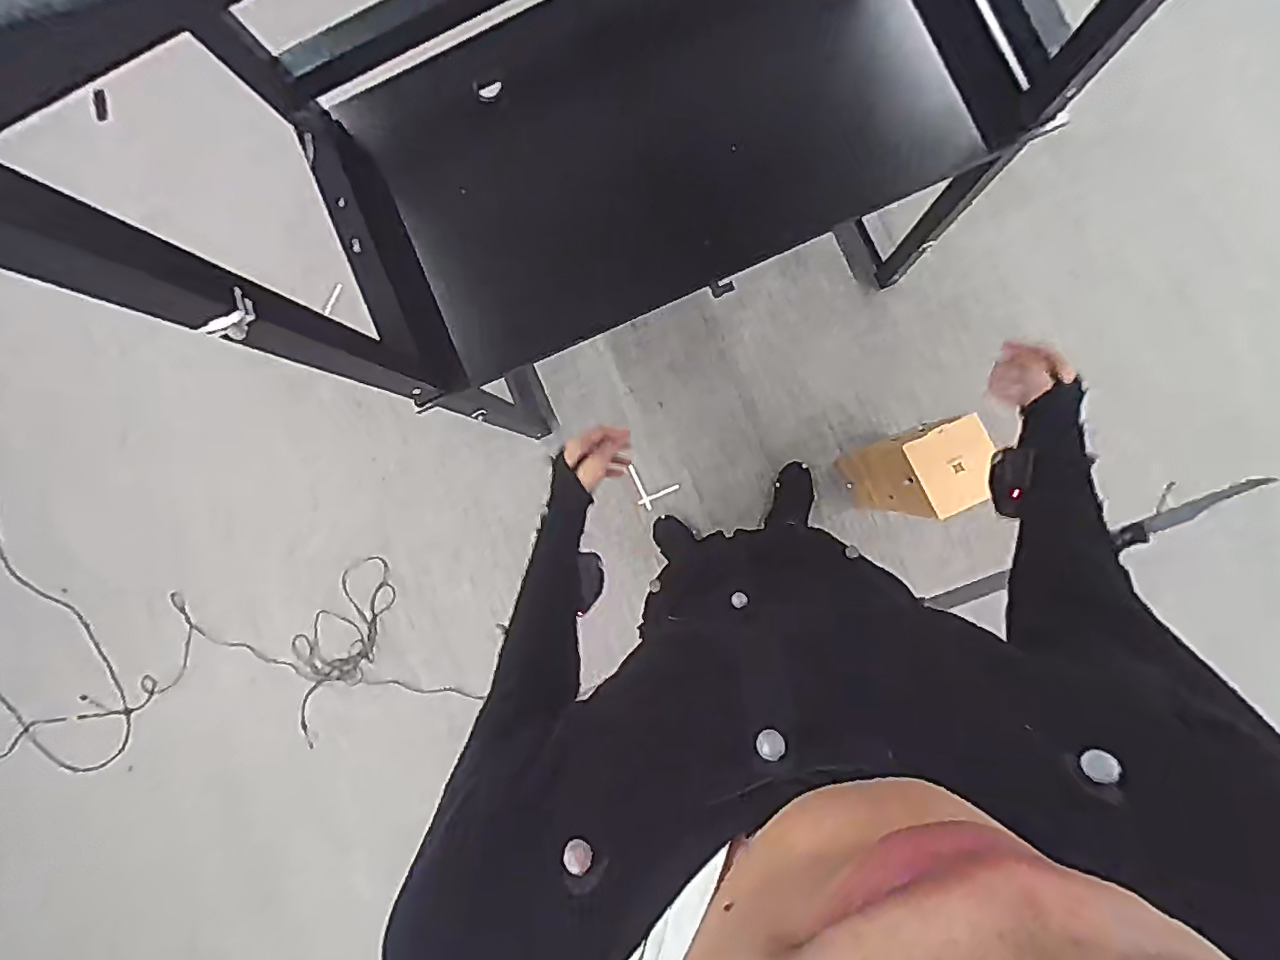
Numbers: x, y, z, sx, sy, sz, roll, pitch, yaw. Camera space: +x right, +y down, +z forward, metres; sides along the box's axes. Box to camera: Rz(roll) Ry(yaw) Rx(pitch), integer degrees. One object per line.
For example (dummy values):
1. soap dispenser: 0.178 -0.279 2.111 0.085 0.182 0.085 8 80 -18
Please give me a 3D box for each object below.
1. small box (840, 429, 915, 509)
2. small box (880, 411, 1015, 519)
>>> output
1. small box: 0.689 -0.029 1.512 0.179 0.176 0.168 -25 86 5
2. small box: 0.661 -0.032 1.186 0.168 0.176 0.179 -27 86 5
